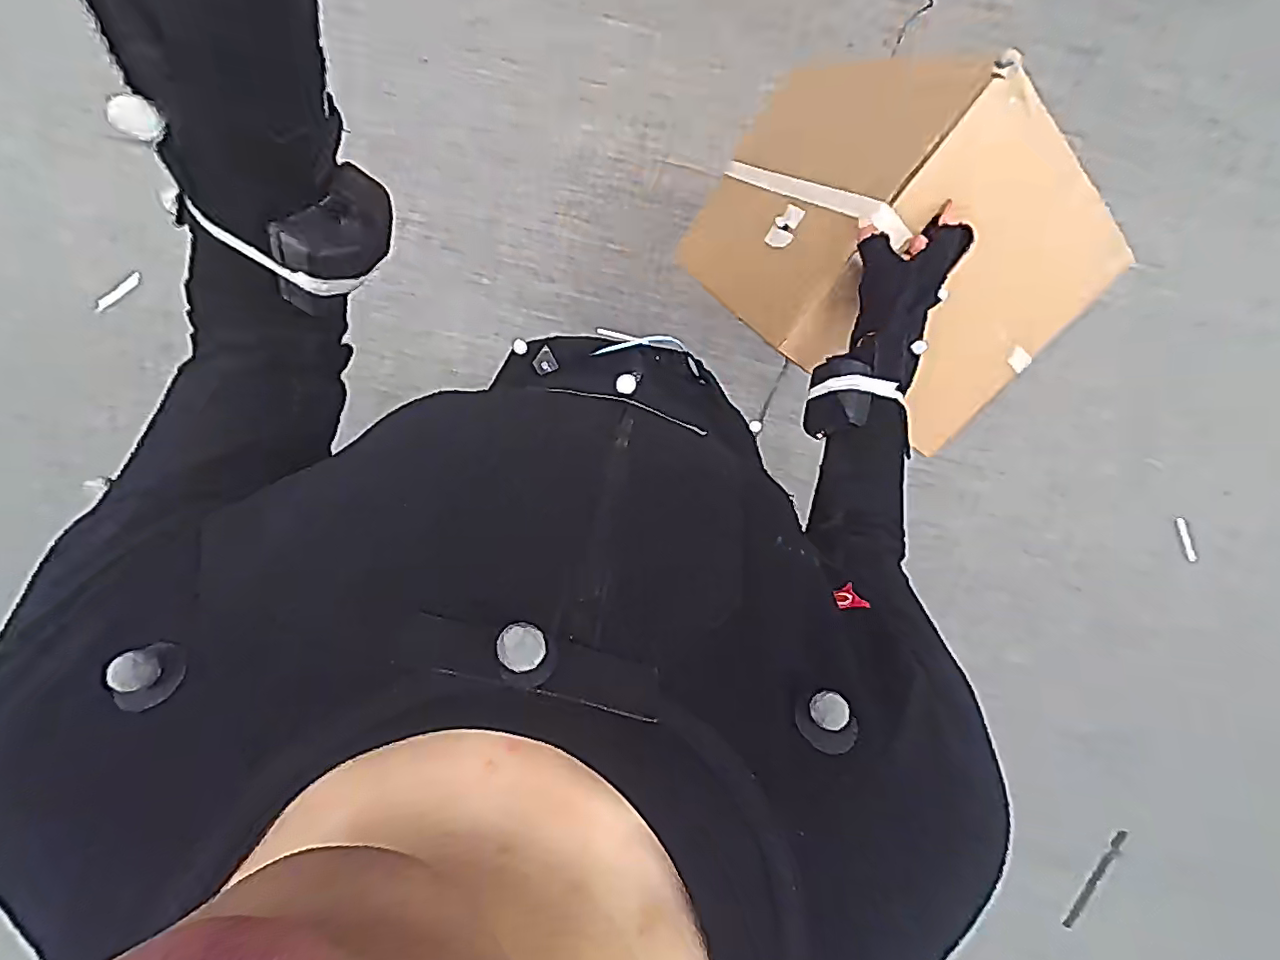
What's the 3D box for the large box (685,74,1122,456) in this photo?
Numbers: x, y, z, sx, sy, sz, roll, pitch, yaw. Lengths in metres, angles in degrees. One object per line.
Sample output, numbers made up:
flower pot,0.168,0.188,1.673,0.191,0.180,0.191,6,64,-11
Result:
large box,0.321,-0.305,0.764,0.320,0.408,0.320,25,116,-29
